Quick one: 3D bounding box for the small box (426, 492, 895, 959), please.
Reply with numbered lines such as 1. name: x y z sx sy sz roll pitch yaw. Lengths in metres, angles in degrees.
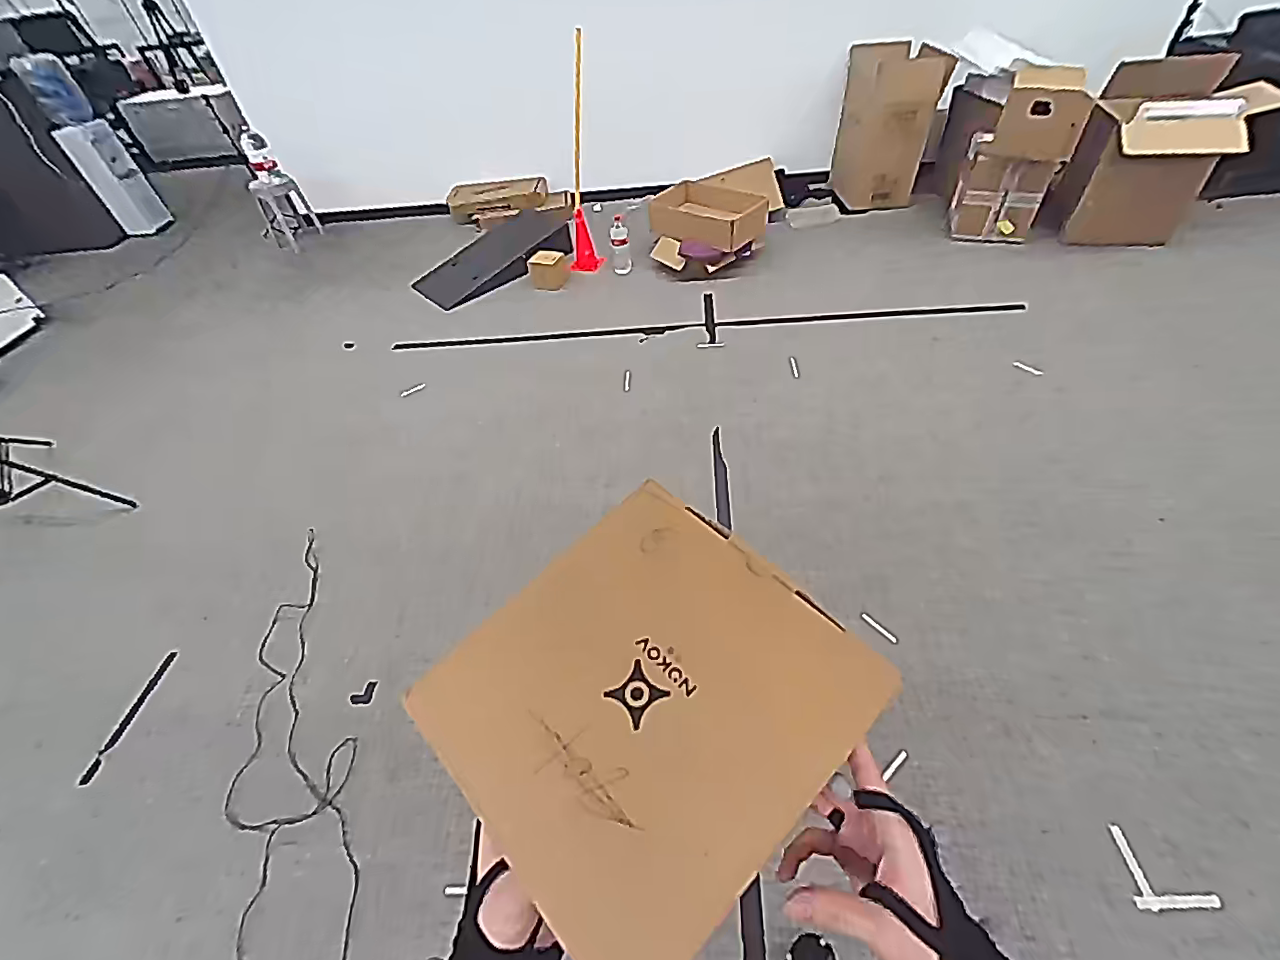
1. small box: 0.015 0.147 0.330 0.179 0.176 0.168 -42 60 -18
